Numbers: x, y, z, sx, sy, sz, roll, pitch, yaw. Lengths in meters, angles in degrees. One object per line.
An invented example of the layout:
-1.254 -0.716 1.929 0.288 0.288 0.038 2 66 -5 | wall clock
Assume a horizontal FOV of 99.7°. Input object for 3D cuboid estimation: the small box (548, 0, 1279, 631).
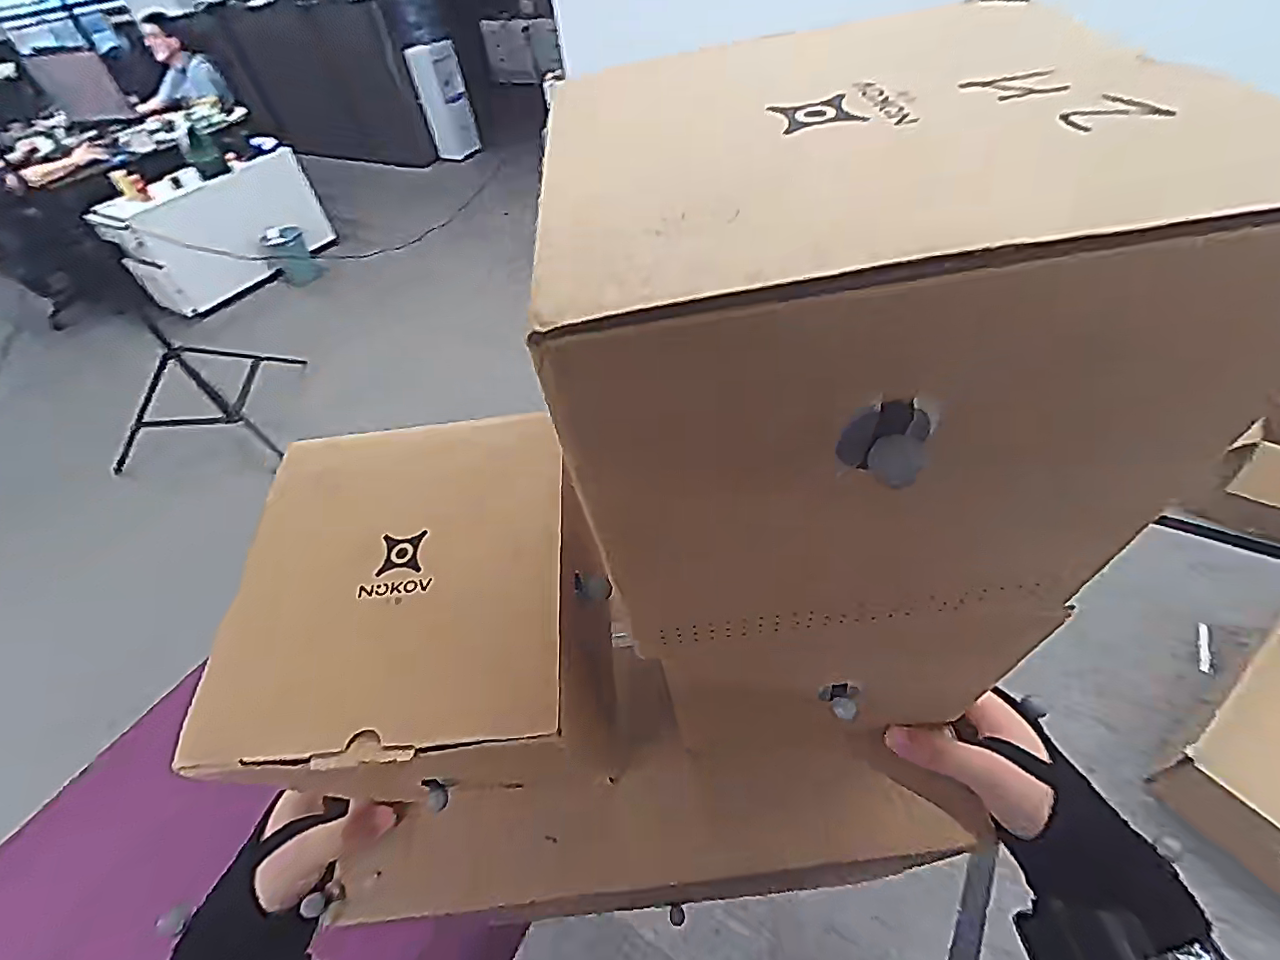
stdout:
0.074 -0.054 0.211 0.179 0.176 0.168 -7 50 3 | small box
